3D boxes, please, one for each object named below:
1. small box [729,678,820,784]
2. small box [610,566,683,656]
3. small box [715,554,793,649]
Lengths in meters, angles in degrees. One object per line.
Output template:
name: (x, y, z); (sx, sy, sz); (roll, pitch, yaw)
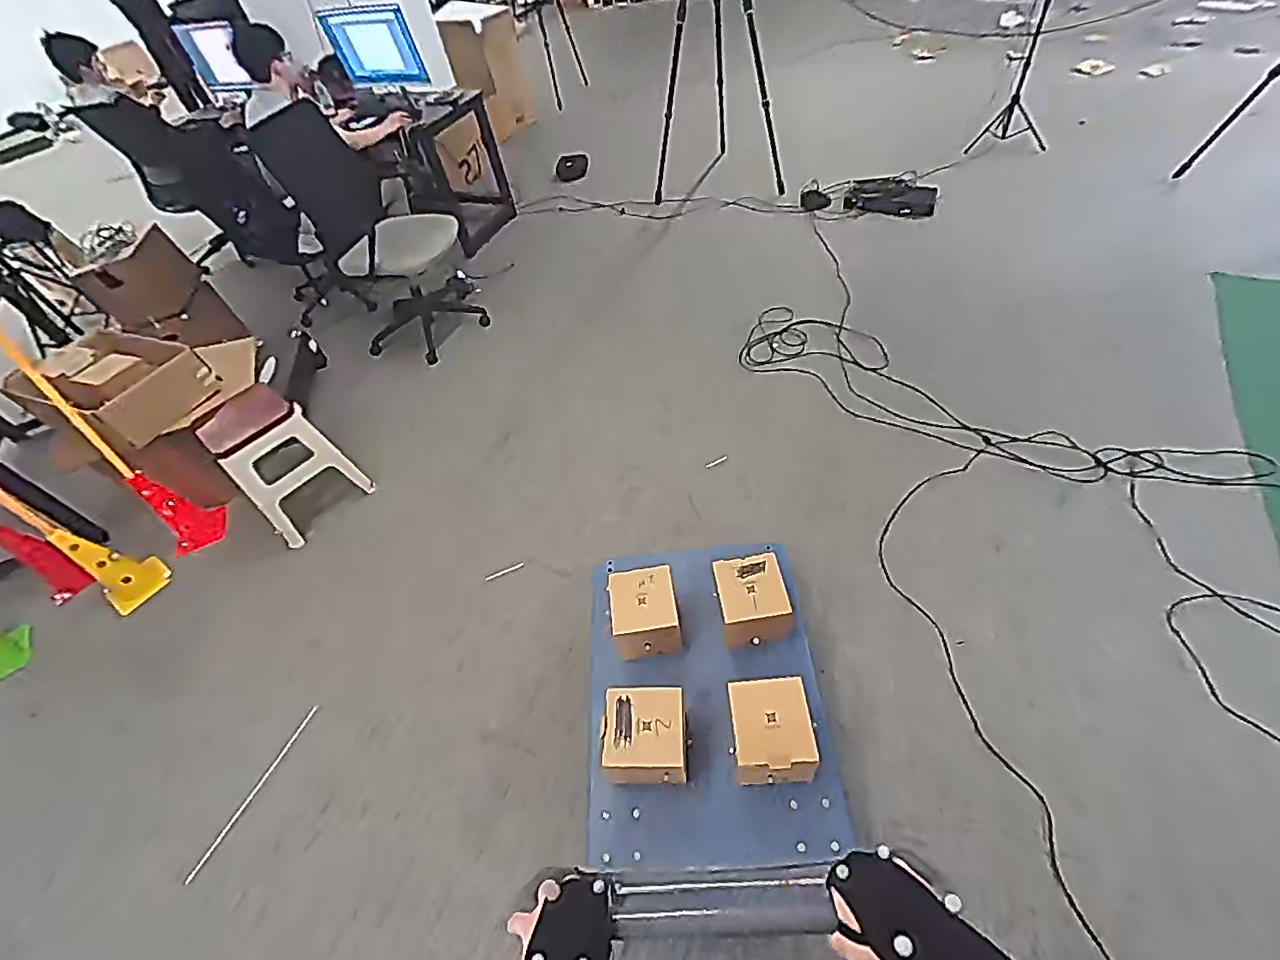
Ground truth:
small box: (0.293, 0.566, 1.216); (0.168, 0.176, 0.179); (-6, 51, 4)
small box: (0.018, 0.353, 1.434); (0.168, 0.176, 0.179); (-9, 50, 1)
small box: (0.292, 0.320, 1.417); (0.168, 0.176, 0.179); (-9, 51, 2)
